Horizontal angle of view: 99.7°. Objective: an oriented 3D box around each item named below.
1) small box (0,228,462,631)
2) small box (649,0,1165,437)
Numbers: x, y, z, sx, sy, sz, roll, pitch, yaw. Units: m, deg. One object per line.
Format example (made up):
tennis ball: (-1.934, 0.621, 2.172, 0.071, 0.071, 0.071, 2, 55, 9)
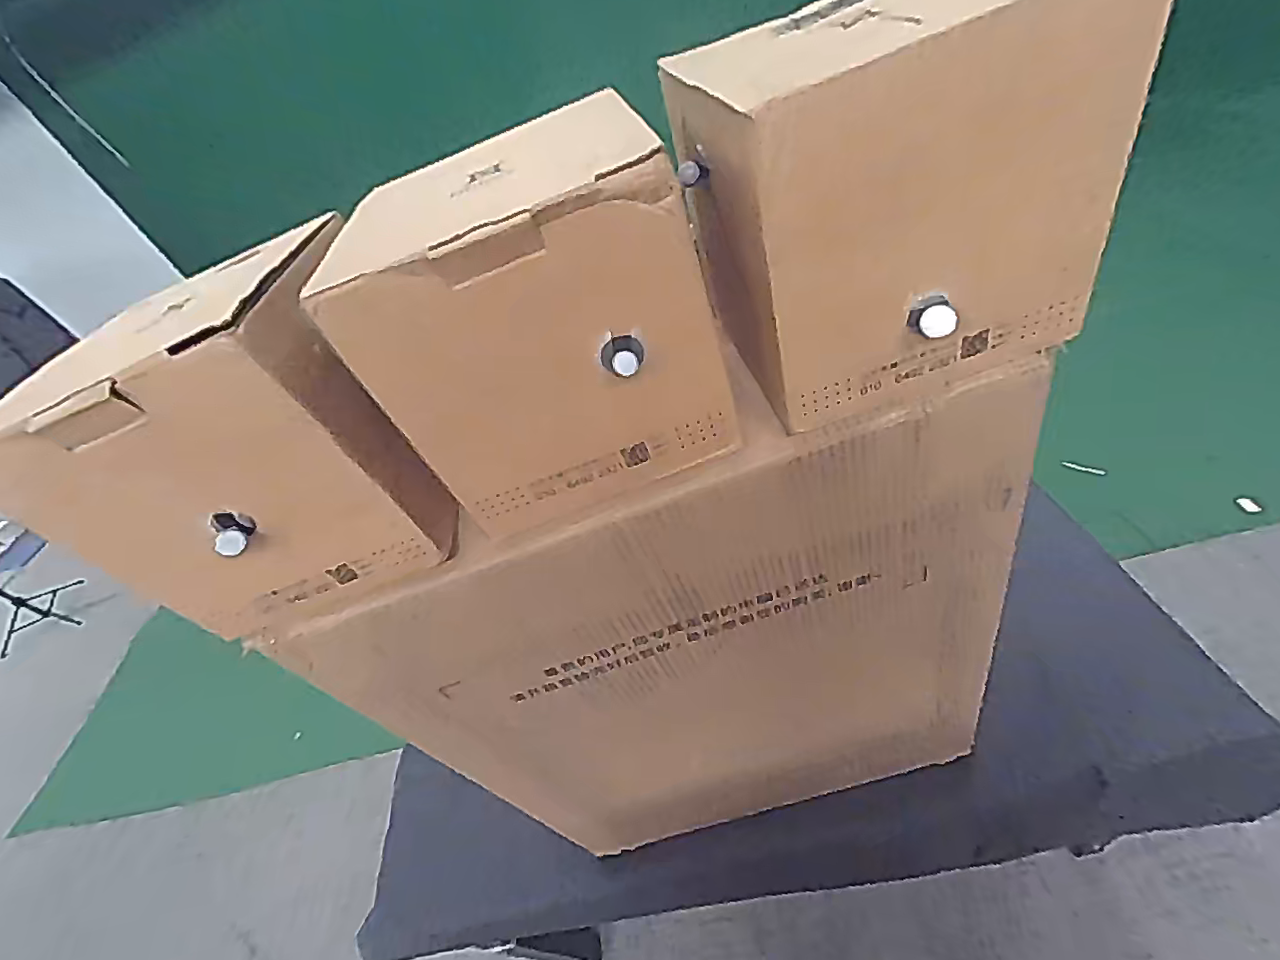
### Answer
small box: (-0.236, -0.024, 0.351, 0.168, 0.176, 0.179, -21, 42, 8)
small box: (0.117, -0.155, 0.304, 0.168, 0.176, 0.179, -20, 43, 6)
